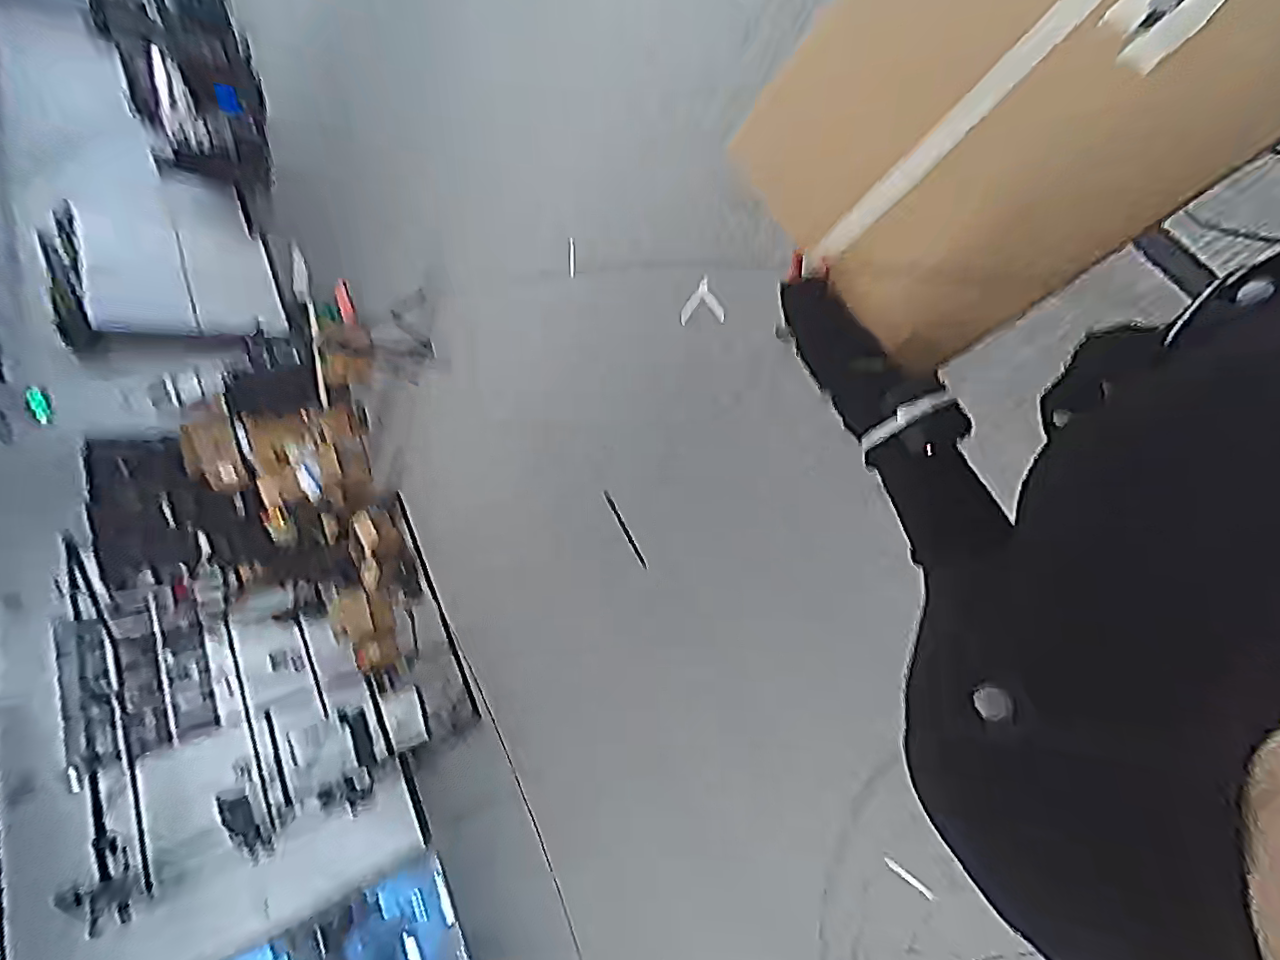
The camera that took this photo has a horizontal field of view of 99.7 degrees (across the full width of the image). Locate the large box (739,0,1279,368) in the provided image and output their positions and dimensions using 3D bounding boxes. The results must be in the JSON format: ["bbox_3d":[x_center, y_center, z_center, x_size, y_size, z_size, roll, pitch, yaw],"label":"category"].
[{"bbox_3d":[0.384,-0.371,0.528,0.320,0.320,0.408,55,133,6],"label":"large box"}]
